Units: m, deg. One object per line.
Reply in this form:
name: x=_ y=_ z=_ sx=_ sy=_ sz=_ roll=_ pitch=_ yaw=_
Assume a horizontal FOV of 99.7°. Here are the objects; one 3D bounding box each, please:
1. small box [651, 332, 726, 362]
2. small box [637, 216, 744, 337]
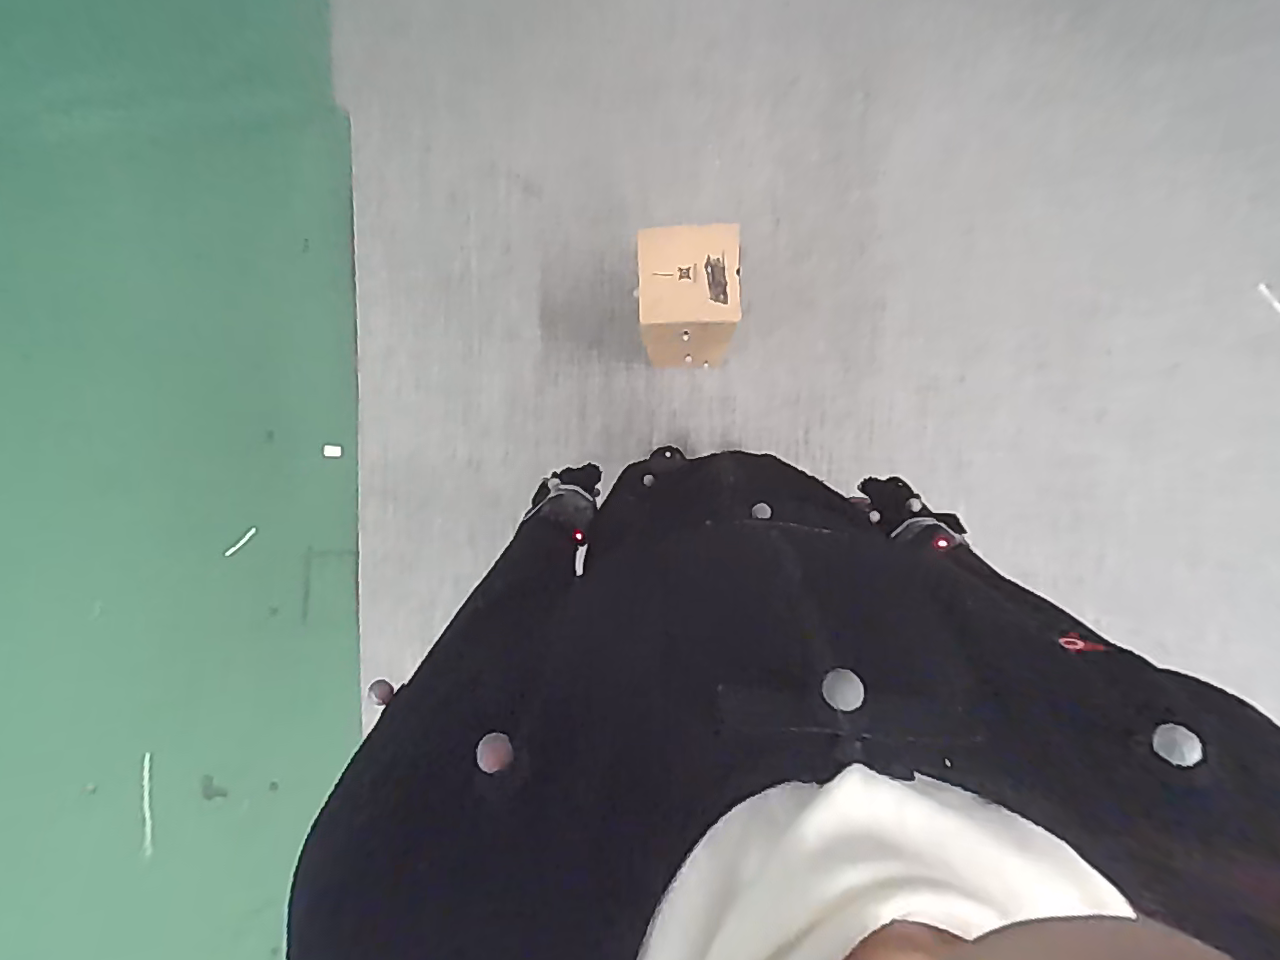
small box: x=0.118 y=-0.386 z=1.327 sx=0.179 sy=0.176 sz=0.168 roll=0 pitch=93 yaw=6
small box: x=0.090 y=-0.366 z=0.998 sx=0.179 sy=0.176 sz=0.168 roll=3 pitch=92 yaw=4
